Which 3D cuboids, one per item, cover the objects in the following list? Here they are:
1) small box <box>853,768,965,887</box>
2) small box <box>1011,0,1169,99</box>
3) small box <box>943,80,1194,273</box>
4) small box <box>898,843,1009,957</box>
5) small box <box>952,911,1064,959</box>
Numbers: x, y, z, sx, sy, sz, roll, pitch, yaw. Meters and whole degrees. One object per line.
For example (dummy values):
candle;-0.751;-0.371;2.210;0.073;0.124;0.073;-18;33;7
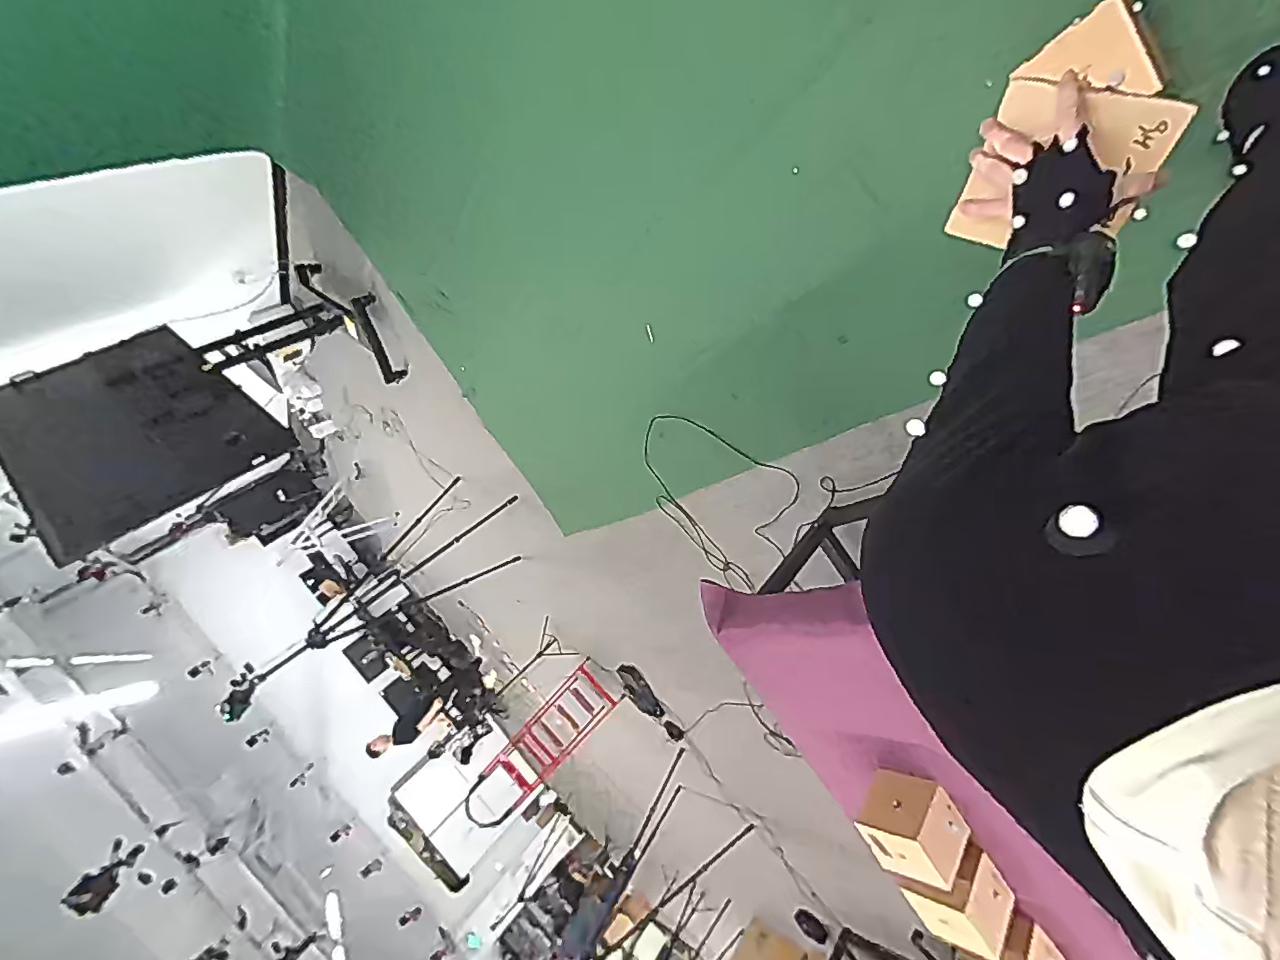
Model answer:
small box;0.688;0.872;1.379;0.168;0.176;0.179;56;144;-8
small box;0.835;-0.747;1.001;0.179;0.176;0.168;56;146;-7
small box;0.520;-0.378;0.667;0.179;0.176;0.168;32;137;25
small box;0.819;1.065;1.409;0.168;0.176;0.179;55;145;-7
small box;0.971;1.263;1.419;0.168;0.176;0.179;52;145;-3
